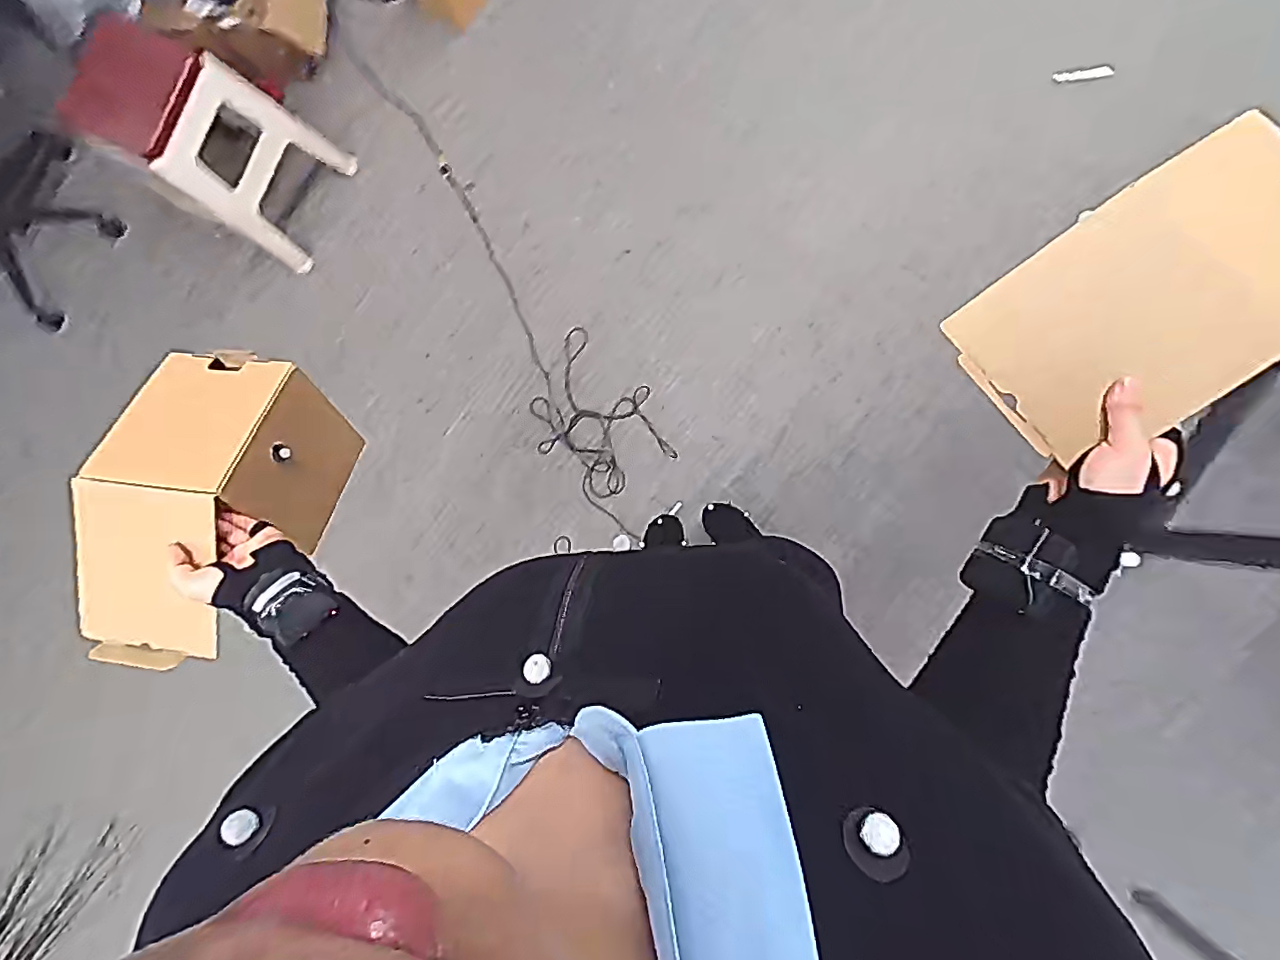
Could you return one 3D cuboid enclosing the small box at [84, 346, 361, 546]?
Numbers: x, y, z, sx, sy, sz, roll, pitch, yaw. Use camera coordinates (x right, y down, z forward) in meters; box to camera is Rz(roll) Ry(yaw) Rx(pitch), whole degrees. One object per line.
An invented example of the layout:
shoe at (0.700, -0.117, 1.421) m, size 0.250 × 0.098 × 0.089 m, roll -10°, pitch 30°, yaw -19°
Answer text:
small box at (-0.479, -0.035, 0.658) m, size 0.168 × 0.176 × 0.179 m, roll 7°, pitch 60°, yaw 7°
